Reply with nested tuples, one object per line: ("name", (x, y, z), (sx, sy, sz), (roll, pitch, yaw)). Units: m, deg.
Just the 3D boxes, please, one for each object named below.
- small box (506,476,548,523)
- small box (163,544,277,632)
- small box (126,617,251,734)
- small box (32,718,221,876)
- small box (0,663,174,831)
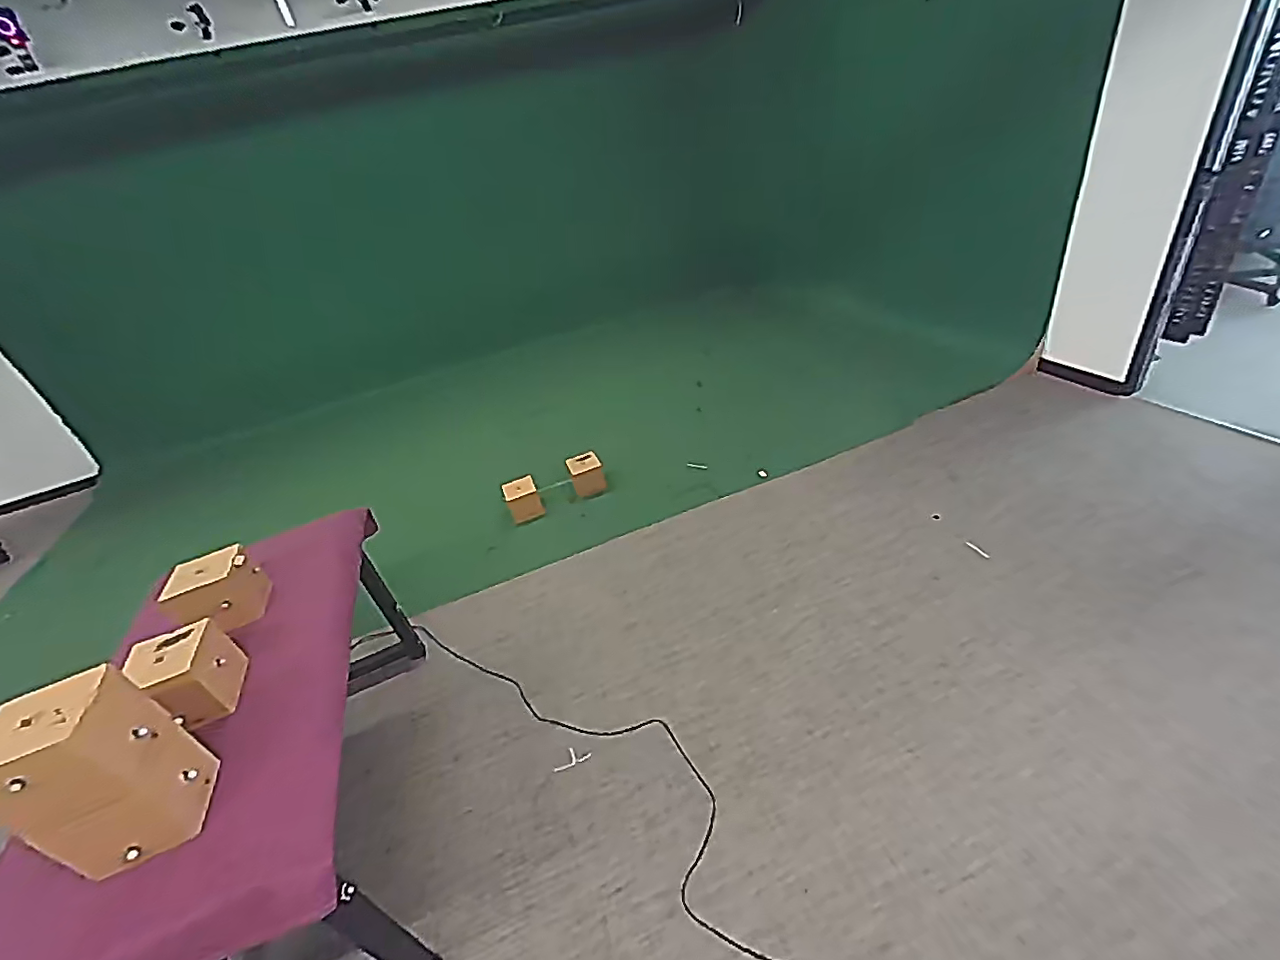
("small box", (-0.616, 0.113, 2.944), (0.168, 0.176, 0.179), (-21, 33, -11))
("small box", (-1.168, 0.315, 1.523), (0.179, 0.176, 0.168), (-21, 34, -11))
("small box", (-1.053, 0.463, 1.264), (0.168, 0.176, 0.179), (-21, 35, -12))
("small box", (-0.951, 0.599, 1.027), (0.179, 0.176, 0.168), (-21, 33, -13))
("small box", (-0.980, 0.463, 0.939), (0.179, 0.176, 0.168), (-21, 35, -13))
